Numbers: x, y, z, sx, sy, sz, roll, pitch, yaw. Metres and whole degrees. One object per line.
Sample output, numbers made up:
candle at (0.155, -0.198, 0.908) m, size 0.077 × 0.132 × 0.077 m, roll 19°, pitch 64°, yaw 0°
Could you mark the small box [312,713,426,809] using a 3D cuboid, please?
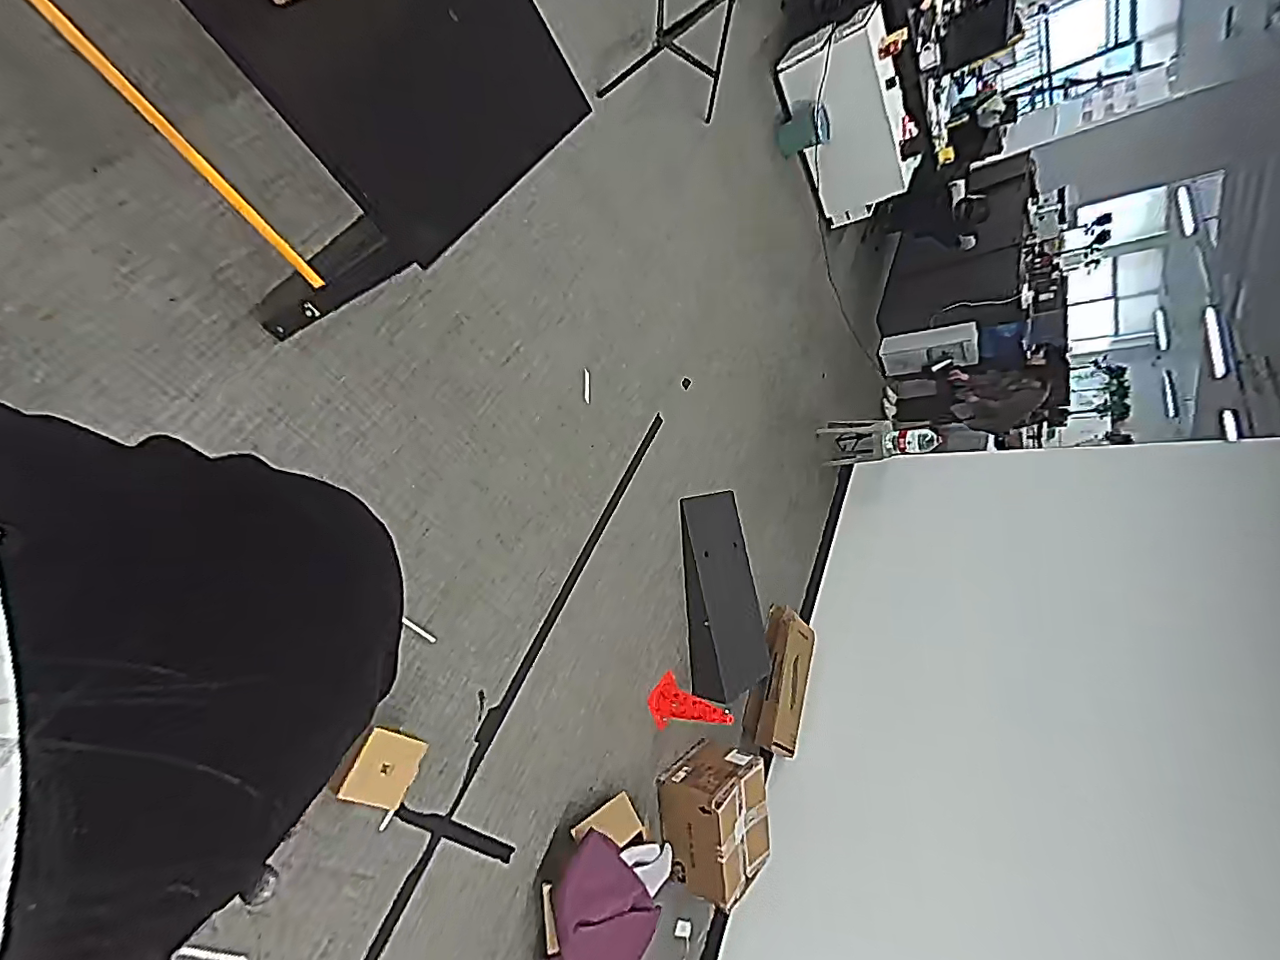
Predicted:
small box at (-0.708, 0.730, 1.414) m, size 0.179 × 0.176 × 0.168 m, roll 44°, pitch 56°, yaw -38°
